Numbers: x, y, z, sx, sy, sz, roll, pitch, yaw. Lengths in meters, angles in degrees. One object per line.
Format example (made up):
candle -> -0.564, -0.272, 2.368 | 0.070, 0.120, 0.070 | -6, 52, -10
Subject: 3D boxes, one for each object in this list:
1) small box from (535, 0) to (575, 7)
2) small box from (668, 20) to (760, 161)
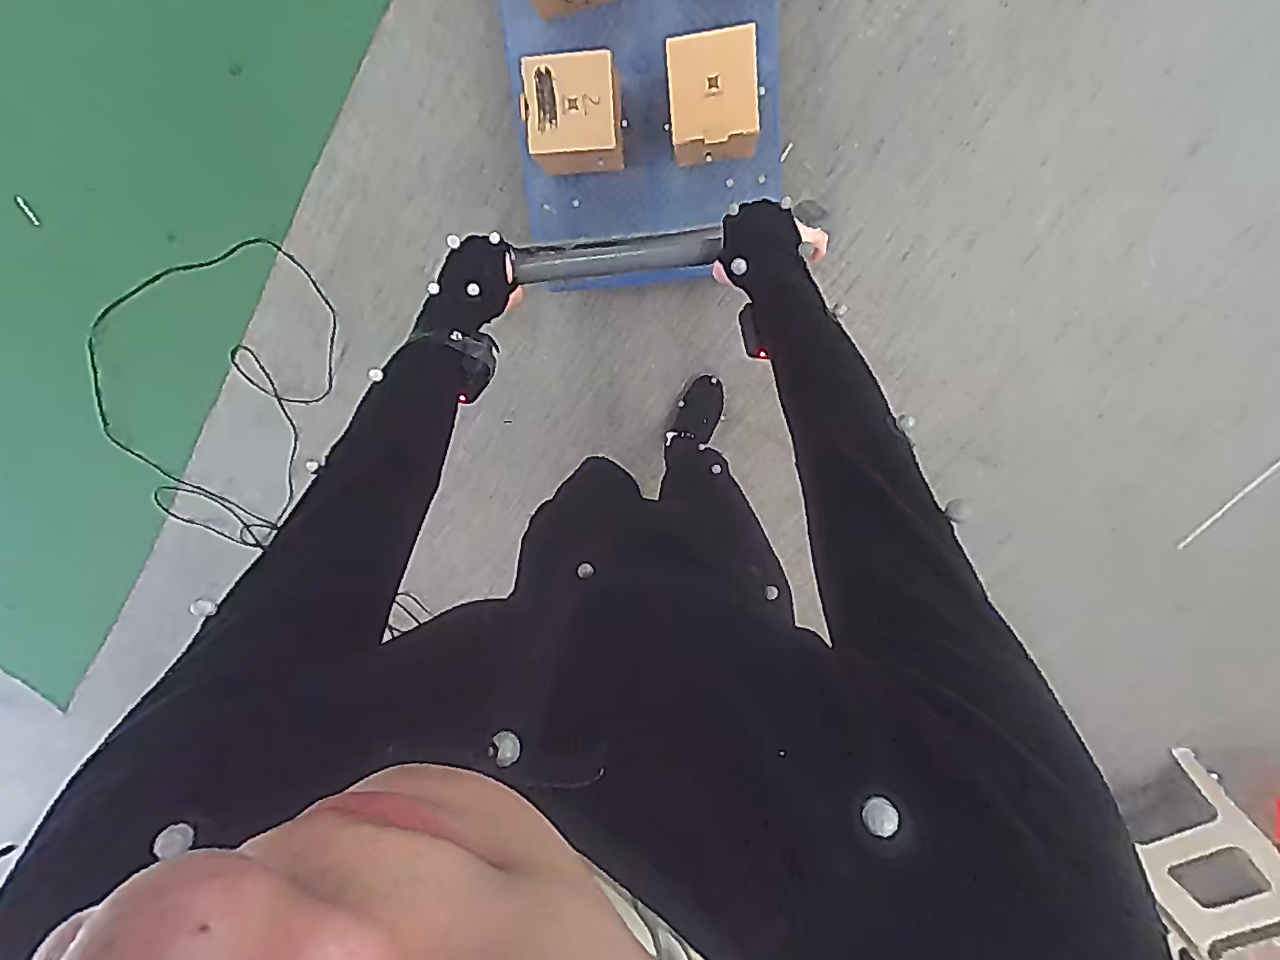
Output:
small box -> -0.152, -1.040, 1.018 | 0.168, 0.176, 0.179 | -8, 107, 7
small box -> 0.145, -0.764, 1.080 | 0.168, 0.176, 0.179 | -4, 108, 7
